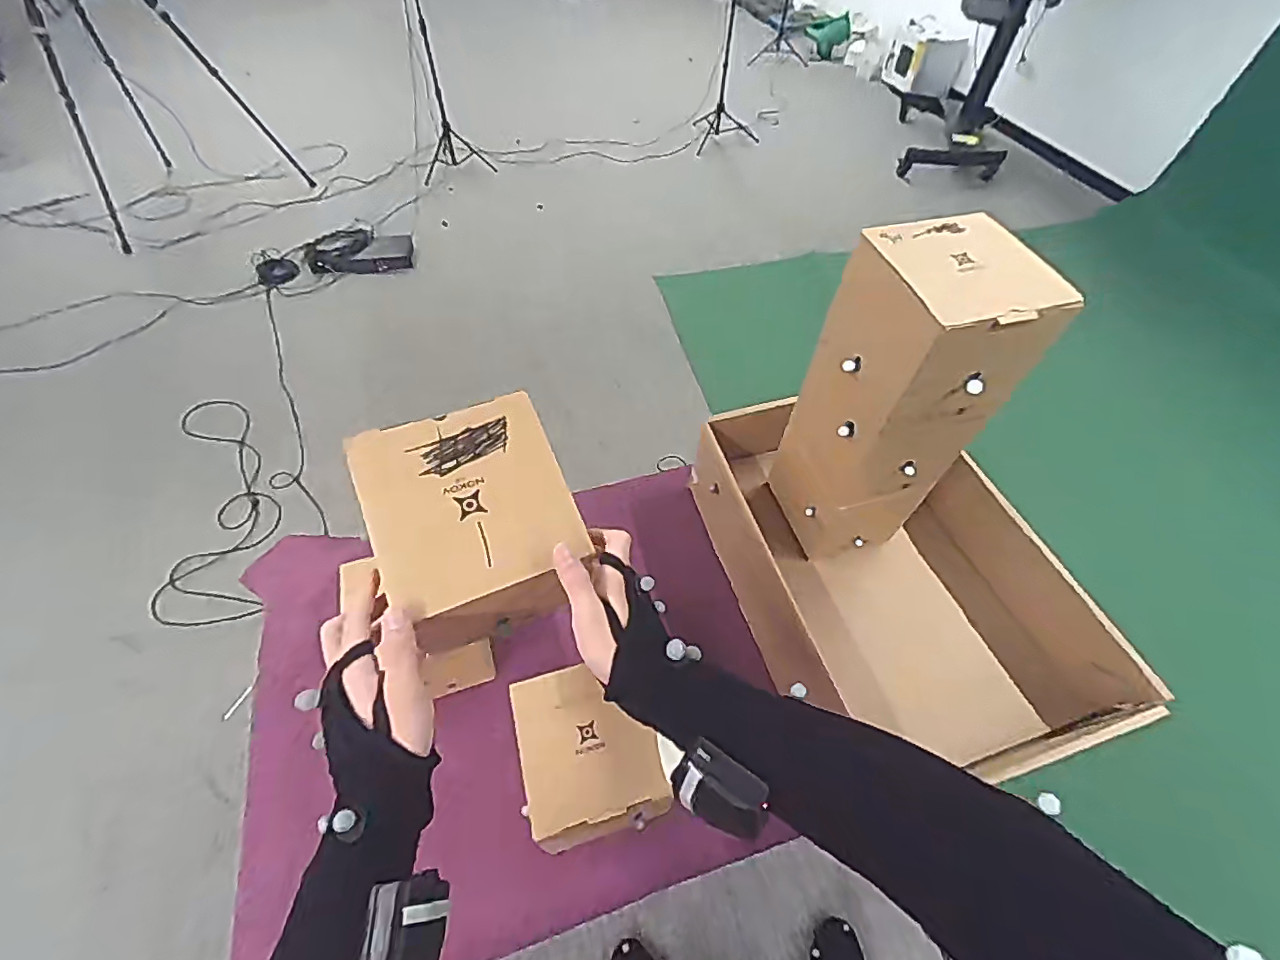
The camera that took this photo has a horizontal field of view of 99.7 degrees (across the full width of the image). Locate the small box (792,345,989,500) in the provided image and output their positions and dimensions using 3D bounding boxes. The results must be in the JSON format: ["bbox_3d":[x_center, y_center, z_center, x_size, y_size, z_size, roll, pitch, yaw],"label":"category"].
[{"bbox_3d":[0.342,-0.088,0.781,0.168,0.176,0.179,-11,55,-10],"label":"small box"}]

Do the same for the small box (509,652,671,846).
[{"bbox_3d":[-0.066,0.355,0.705,0.168,0.176,0.179,-12,53,-12],"label":"small box"}]

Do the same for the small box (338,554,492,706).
[{"bbox_3d":[-0.327,0.216,0.803,0.168,0.176,0.179,-14,54,-12],"label":"small box"}]

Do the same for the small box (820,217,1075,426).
[{"bbox_3d":[0.343,-0.181,0.646,0.168,0.176,0.179,-11,56,-9],"label":"small box"}]

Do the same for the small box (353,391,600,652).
[{"bbox_3d":[-0.153,0.046,0.527,0.168,0.176,0.179,-19,70,-18],"label":"small box"}]
